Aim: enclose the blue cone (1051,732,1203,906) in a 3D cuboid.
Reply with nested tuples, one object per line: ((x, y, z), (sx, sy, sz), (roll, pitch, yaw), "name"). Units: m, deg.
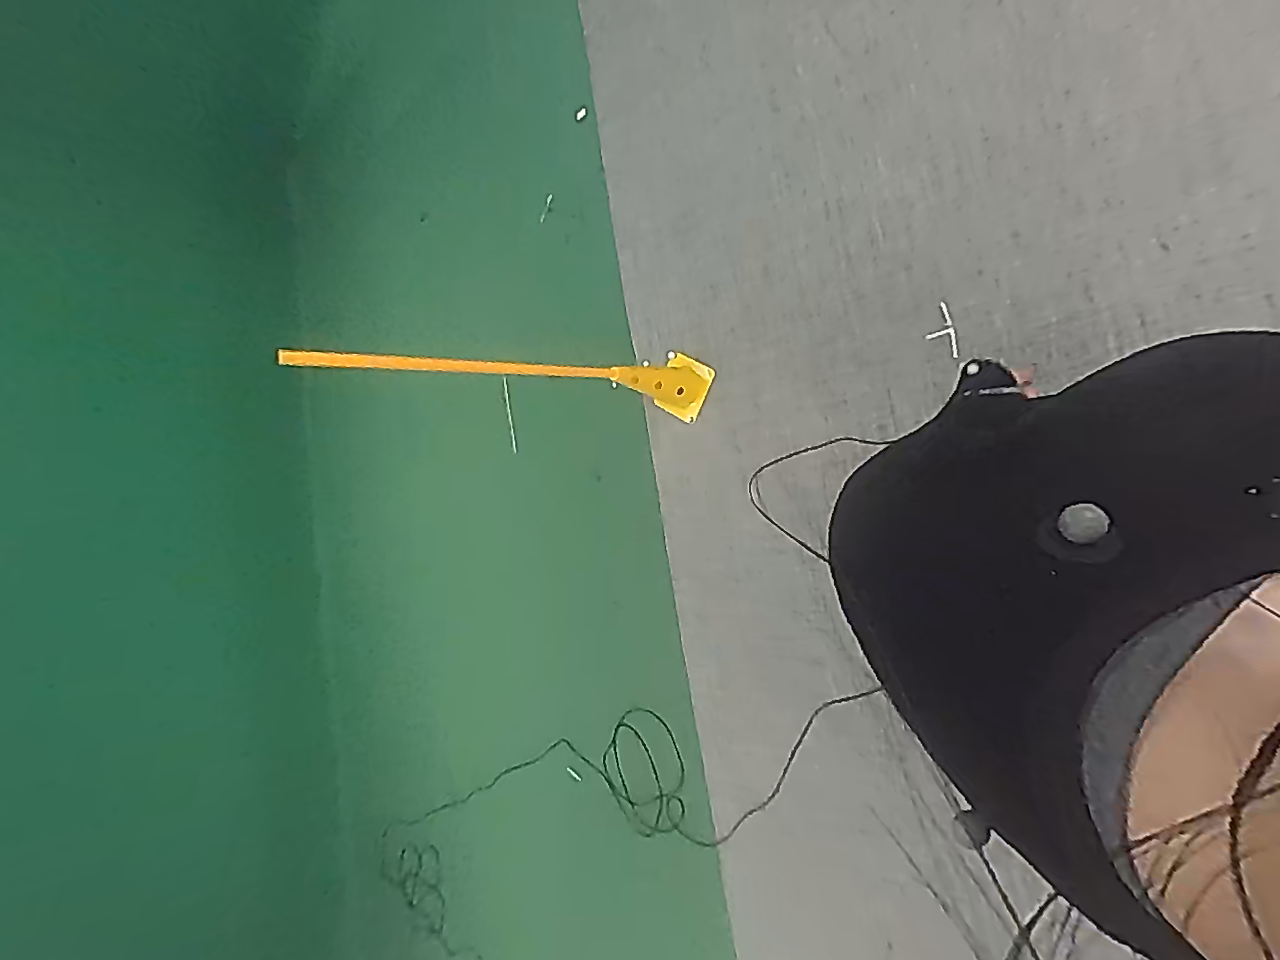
((0.915, 0.648, 1.002), (0.193, 0.380, 0.192), (43, 115, 28), "blue cone")
